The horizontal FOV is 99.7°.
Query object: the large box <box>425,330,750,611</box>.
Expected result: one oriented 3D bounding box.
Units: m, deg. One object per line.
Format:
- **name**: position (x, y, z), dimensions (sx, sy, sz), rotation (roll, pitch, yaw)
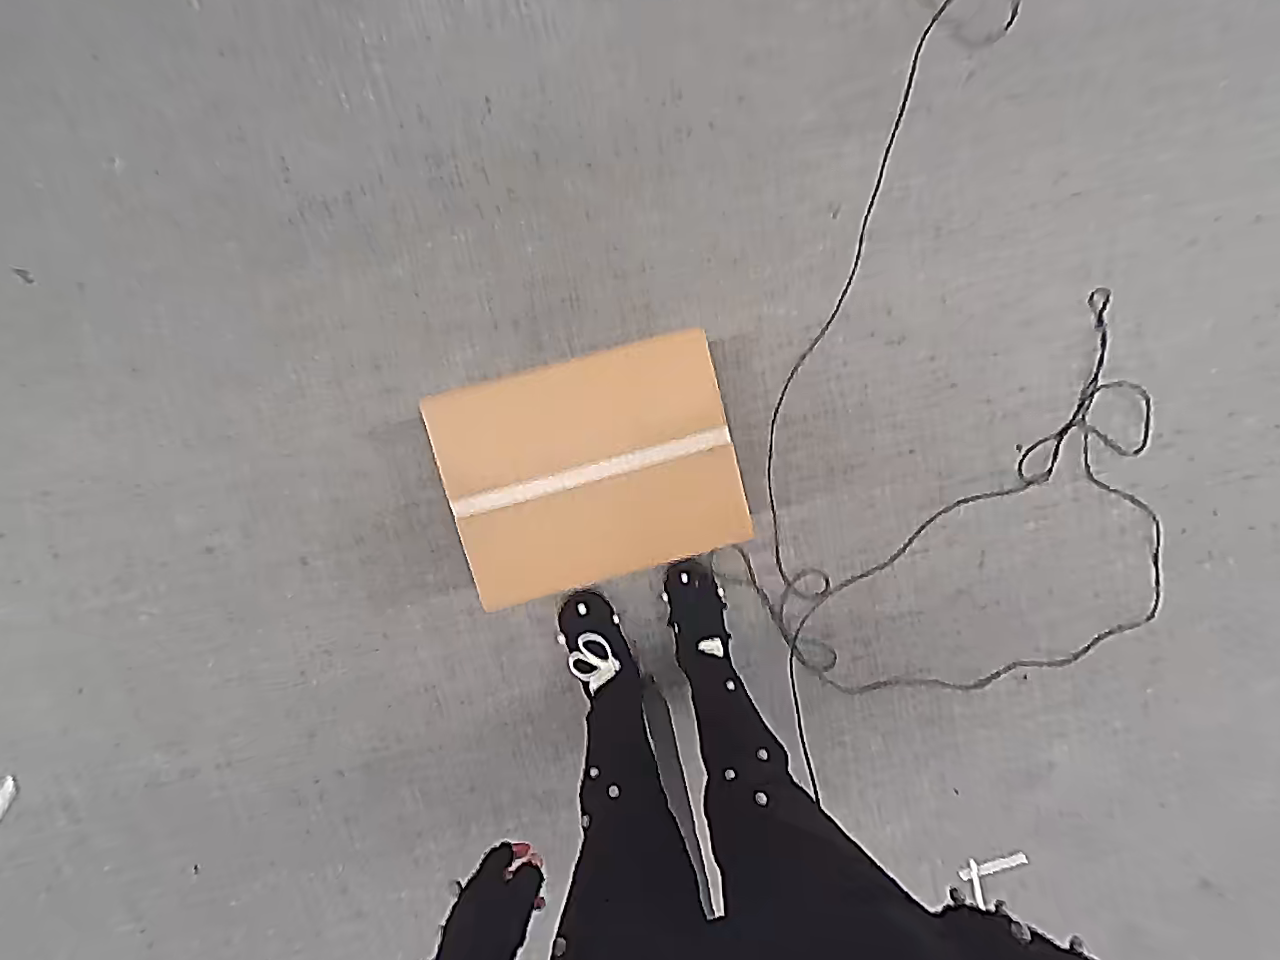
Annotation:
- **large box**: position (-0.075, -0.027, 0.912), dimensions (0.408, 0.320, 0.320), rotation (-16, 96, -1)
